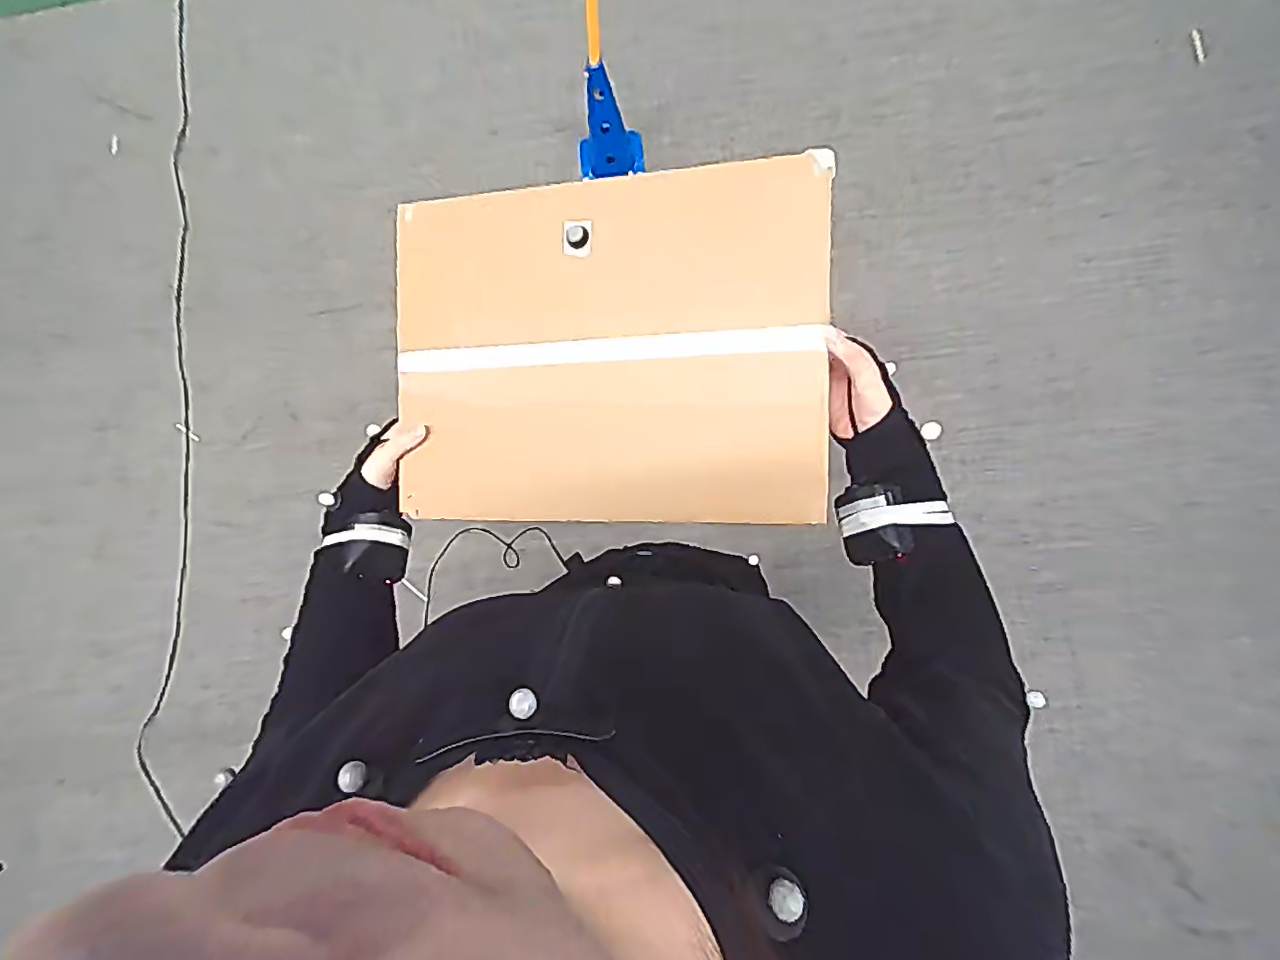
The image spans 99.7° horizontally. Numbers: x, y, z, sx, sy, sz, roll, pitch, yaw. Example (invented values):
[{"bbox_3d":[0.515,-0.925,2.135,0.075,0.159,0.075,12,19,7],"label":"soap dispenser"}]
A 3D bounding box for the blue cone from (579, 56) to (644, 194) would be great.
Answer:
[{"bbox_3d":[-0.099,-1.006,1.506,0.193,0.380,0.192,-9,82,2],"label":"blue cone"}]
